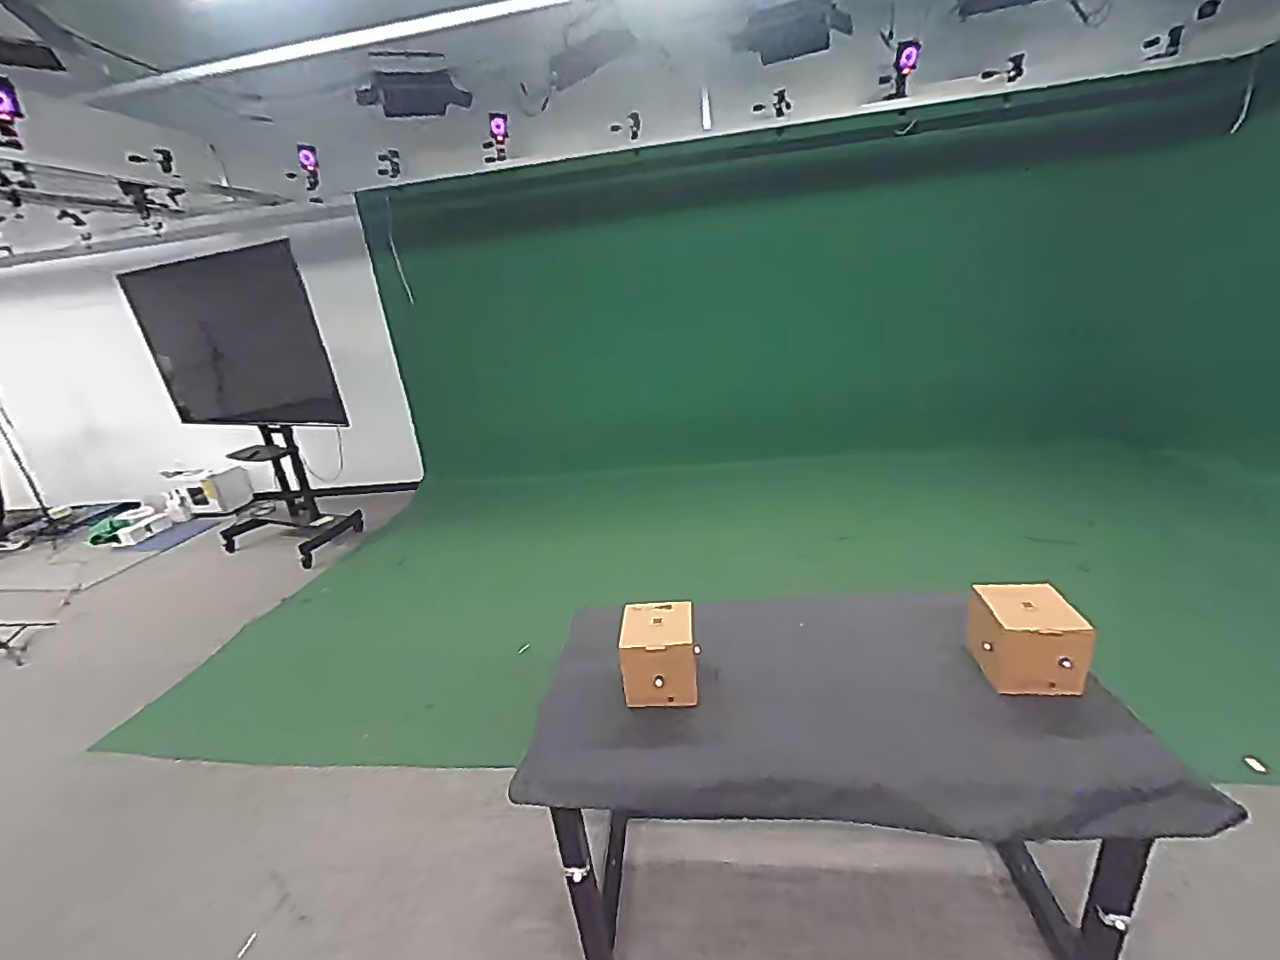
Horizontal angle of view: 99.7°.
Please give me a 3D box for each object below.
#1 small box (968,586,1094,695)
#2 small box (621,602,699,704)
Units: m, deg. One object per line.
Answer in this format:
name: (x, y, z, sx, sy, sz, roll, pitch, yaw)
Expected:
small box: (0.854, 0.353, 1.198, 0.168, 0.176, 0.179, -2, 19, 10)
small box: (0.053, 0.415, 1.291, 0.168, 0.176, 0.179, -4, 20, 6)
